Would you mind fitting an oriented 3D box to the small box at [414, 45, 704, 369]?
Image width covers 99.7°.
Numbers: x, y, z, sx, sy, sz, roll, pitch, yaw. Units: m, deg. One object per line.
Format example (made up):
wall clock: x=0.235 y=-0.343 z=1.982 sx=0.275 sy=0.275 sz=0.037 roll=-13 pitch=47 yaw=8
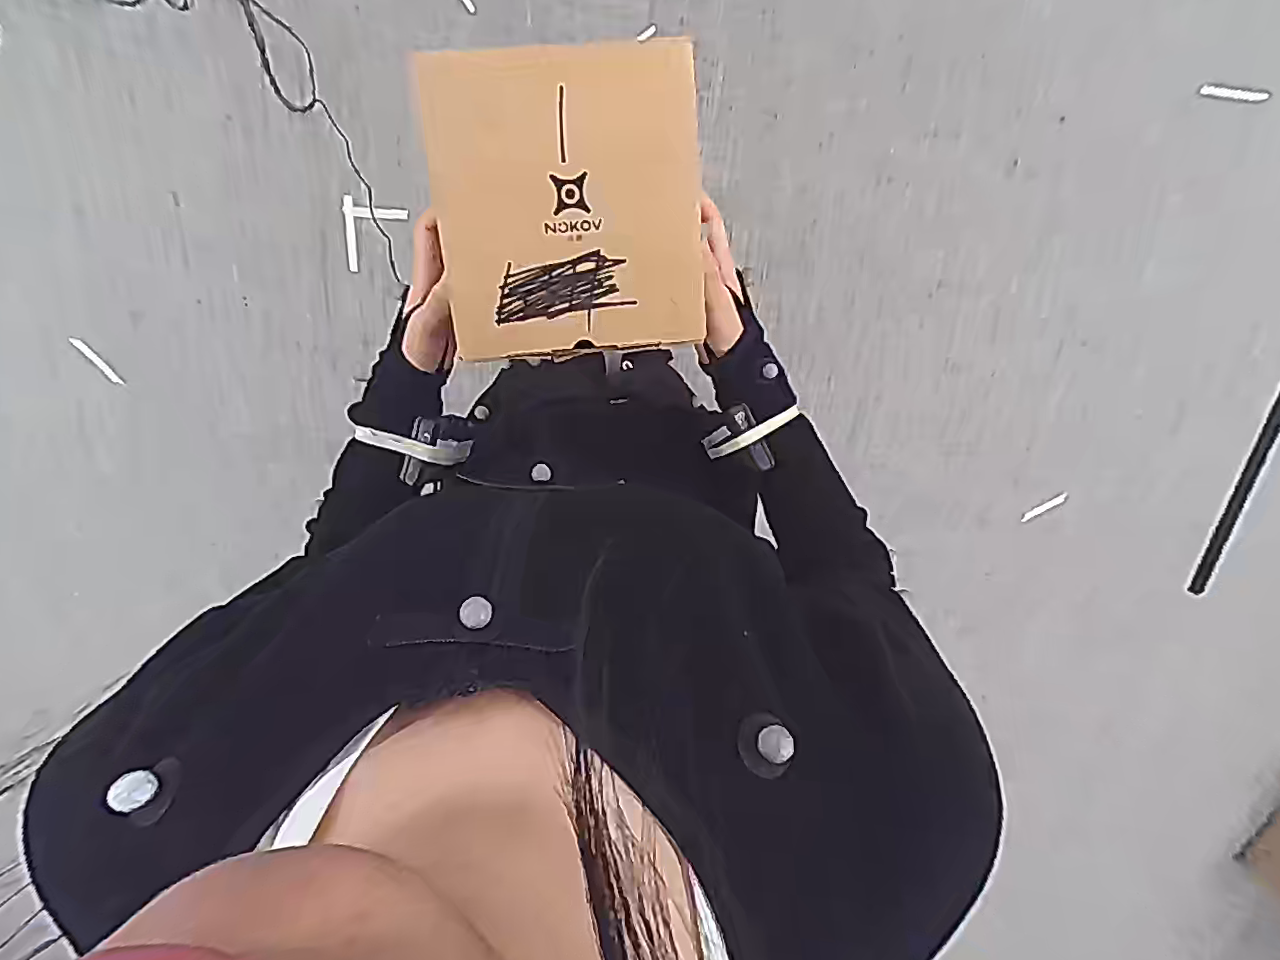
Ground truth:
small box: x=-0.048 y=-0.185 z=0.412 sx=0.168 sy=0.176 sz=0.179 roll=-6 pitch=105 yaw=-3
